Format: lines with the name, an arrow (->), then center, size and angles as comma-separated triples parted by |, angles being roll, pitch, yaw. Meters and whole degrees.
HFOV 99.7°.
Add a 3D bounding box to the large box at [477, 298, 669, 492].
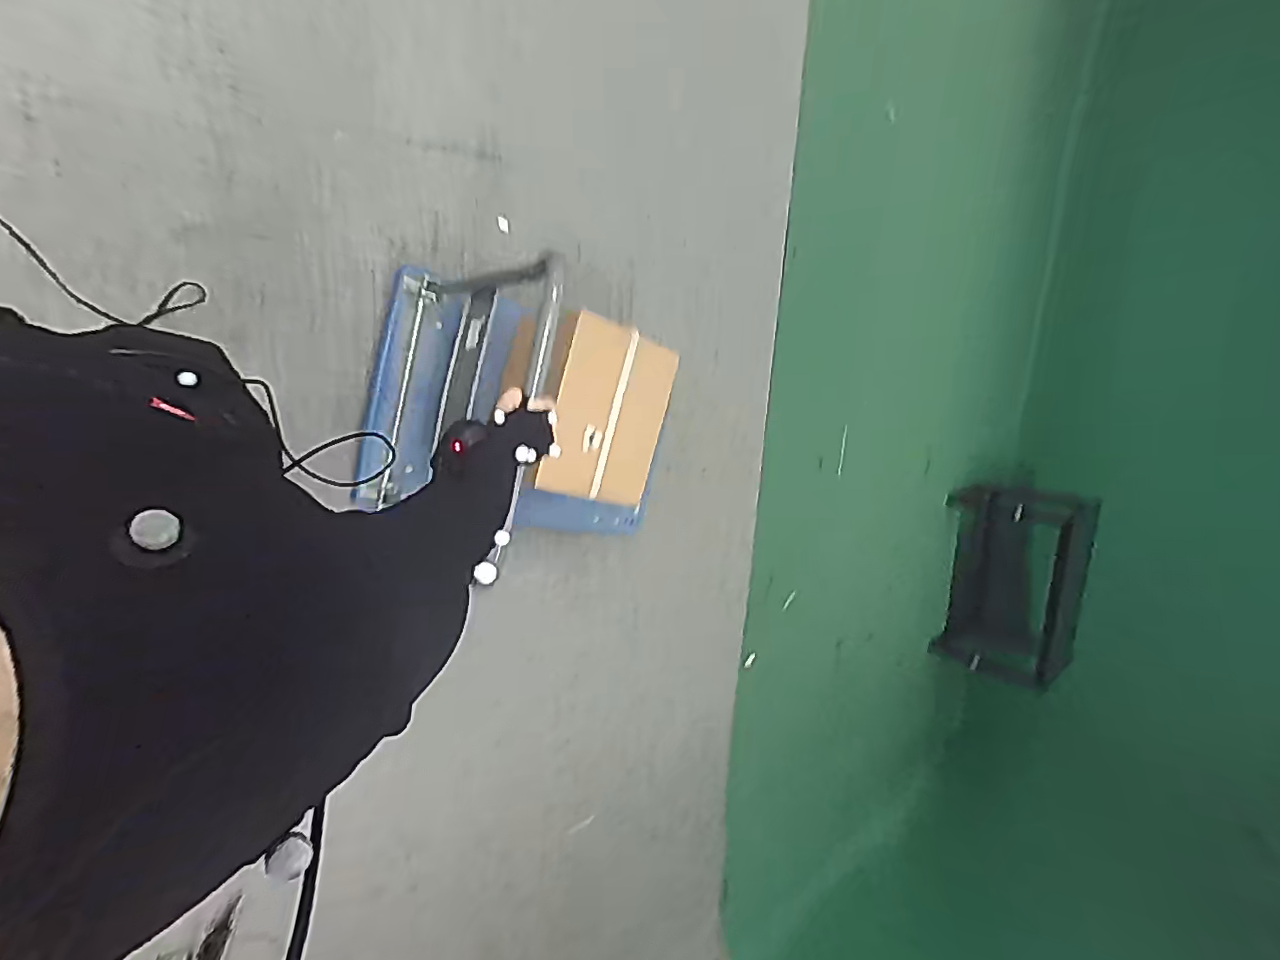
large box -> -0.178, -0.214, 1.390 | 0.320, 0.320, 0.408 | 13, 94, -40
